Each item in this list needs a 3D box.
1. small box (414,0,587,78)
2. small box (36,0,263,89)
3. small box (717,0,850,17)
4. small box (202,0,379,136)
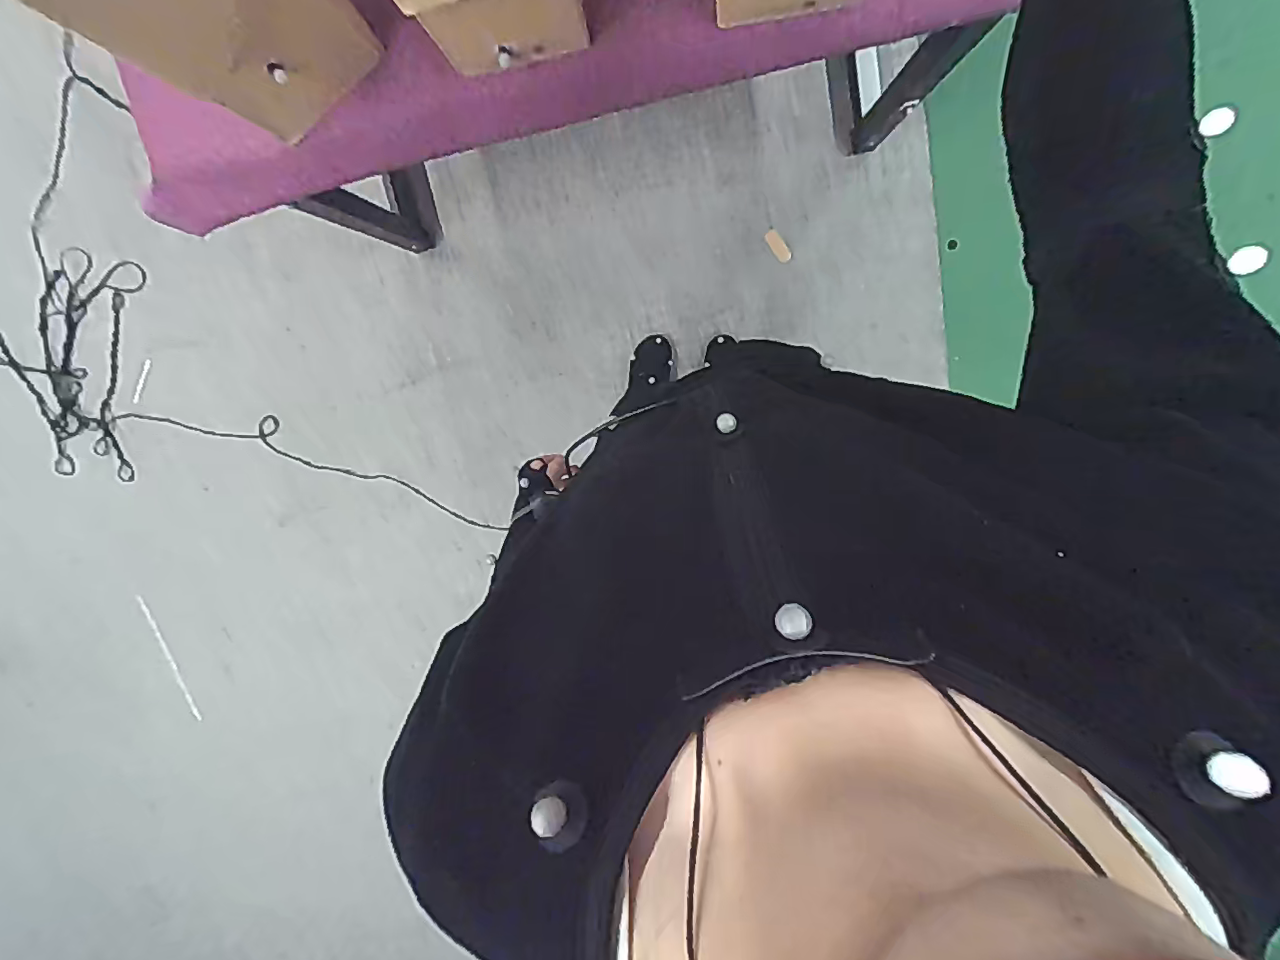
[{"bbox_3d":[-0.161,-0.578,0.572,0.168,0.176,0.179,-9,102,7],"label":"small box"},{"bbox_3d":[-0.446,-0.480,0.442,0.168,0.176,0.179,42,101,-6],"label":"small box"},{"bbox_3d":[0.159,-0.611,0.542,0.168,0.176,0.179,-5,103,5],"label":"small box"},{"bbox_3d":[-0.437,-0.531,0.600,0.179,0.176,0.168,-35,98,11],"label":"small box"}]
